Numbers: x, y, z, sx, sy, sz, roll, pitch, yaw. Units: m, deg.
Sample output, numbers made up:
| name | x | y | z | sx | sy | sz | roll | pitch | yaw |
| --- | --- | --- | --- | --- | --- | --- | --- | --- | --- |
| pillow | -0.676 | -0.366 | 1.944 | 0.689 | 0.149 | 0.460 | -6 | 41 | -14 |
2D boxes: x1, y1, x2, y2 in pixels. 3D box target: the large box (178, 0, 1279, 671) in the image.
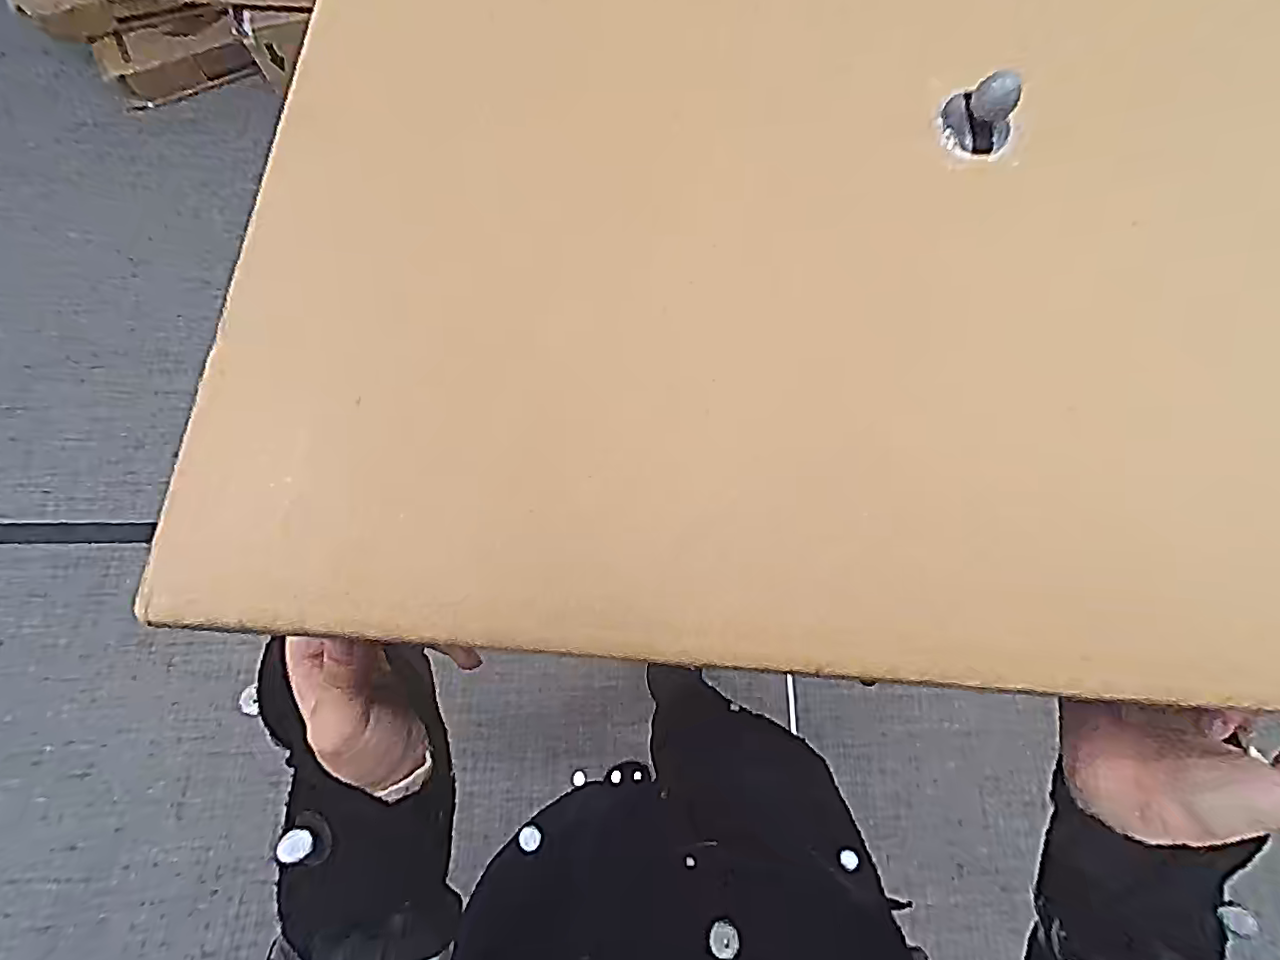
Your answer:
| name | x | y | z | sx | sy | sz | roll | pitch | yaw |
| --- | --- | --- | --- | --- | --- | --- | --- | --- | --- |
| large box | 0.085 | -0.075 | 0.314 | 0.408 | 0.320 | 0.320 | 5 | 77 | -3 |
